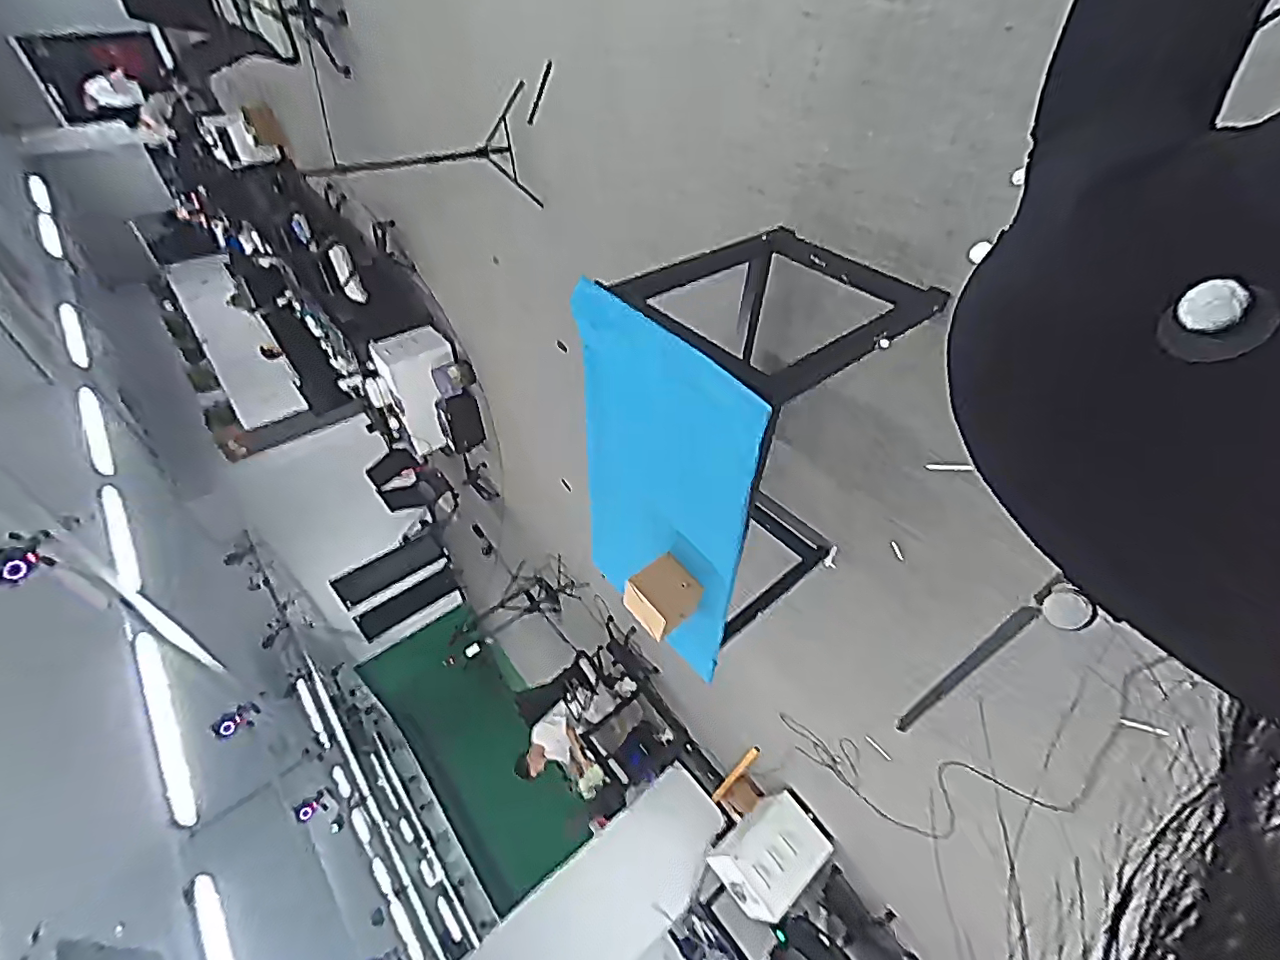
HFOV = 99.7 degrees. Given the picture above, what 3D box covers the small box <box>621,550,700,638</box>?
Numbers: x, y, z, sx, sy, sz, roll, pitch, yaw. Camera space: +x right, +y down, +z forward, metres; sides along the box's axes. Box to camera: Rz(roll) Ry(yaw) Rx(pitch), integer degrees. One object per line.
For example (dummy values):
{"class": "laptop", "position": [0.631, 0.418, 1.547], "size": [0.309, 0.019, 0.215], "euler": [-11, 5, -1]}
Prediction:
{"class": "small box", "position": [0.060, 0.362, 1.704], "size": [0.179, 0.176, 0.168], "euler": [43, 147, 26]}
